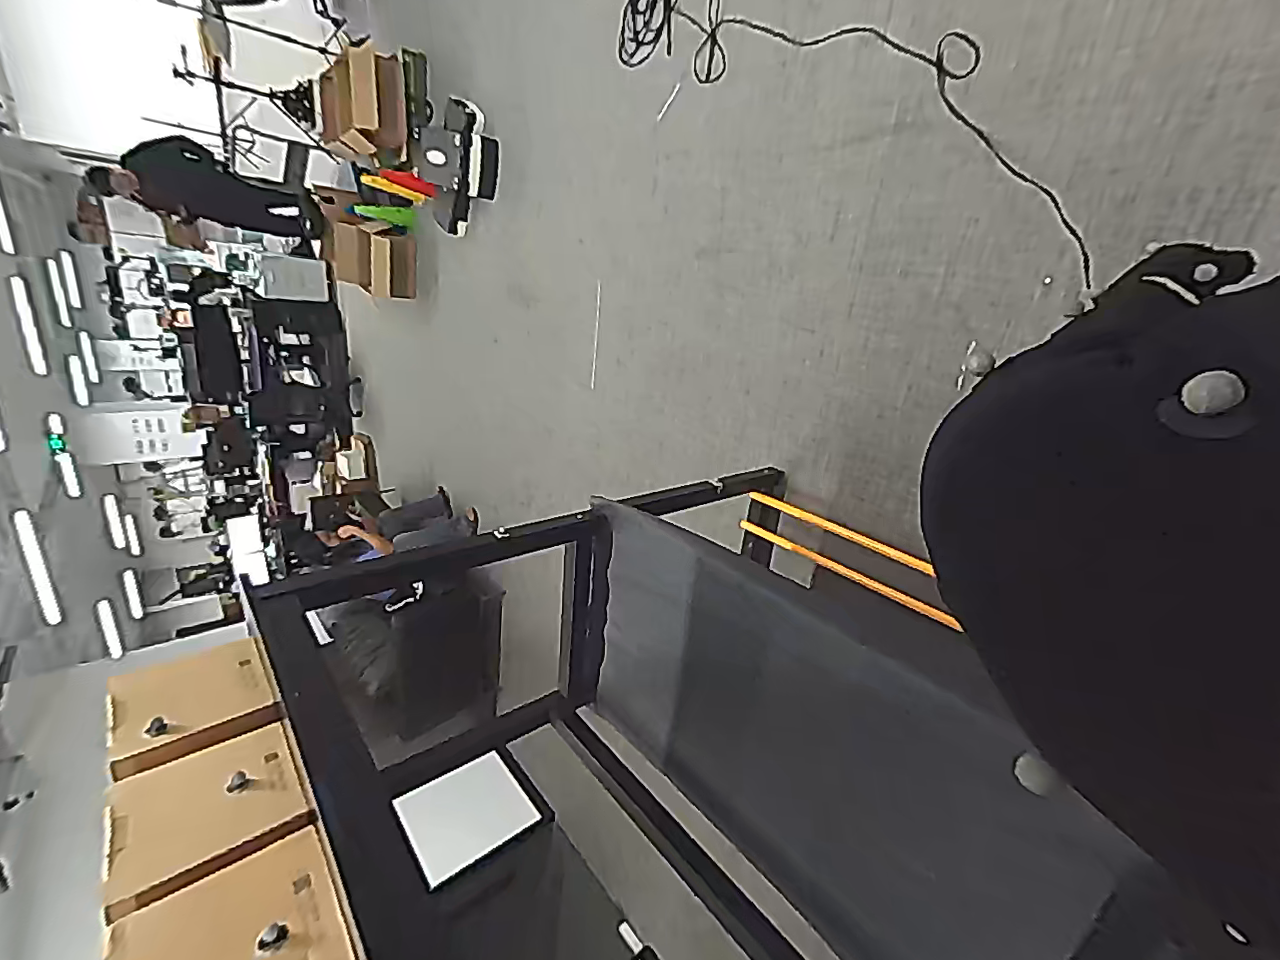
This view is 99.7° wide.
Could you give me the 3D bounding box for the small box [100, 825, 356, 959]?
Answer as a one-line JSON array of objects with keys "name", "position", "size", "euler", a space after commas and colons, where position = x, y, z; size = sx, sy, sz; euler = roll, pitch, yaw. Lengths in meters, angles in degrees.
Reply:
[{"name": "small box", "position": [-0.361, 0.475, 0.493], "size": [0.168, 0.176, 0.179], "euler": [26, 117, 44]}]
